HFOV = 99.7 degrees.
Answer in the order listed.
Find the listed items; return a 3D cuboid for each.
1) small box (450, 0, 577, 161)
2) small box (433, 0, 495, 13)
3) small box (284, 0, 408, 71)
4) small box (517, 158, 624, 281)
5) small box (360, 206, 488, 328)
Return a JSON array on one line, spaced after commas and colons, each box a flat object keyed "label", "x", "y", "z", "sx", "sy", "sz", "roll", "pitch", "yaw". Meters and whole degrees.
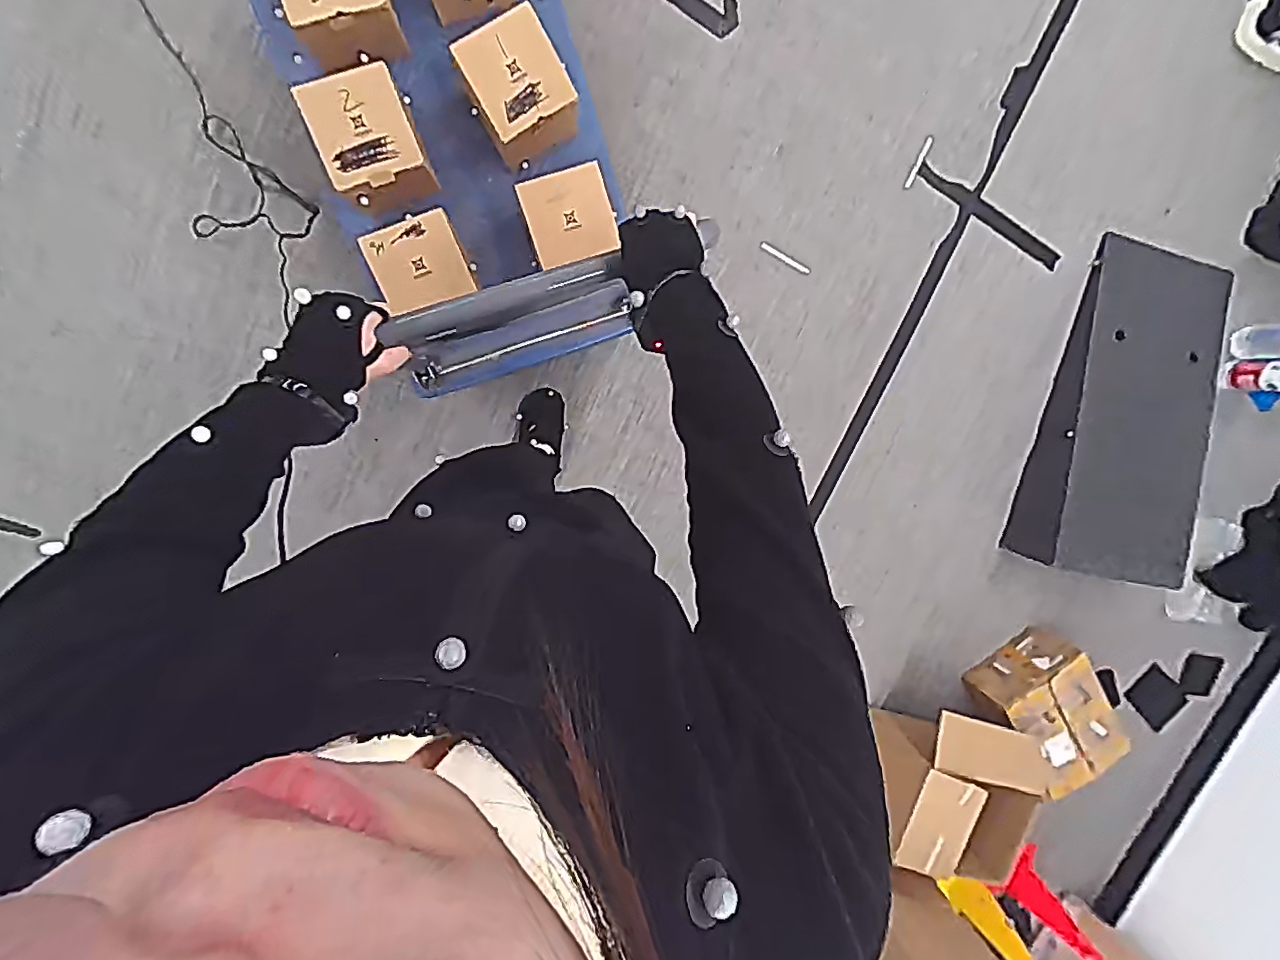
[{"label": "small box", "x": -0.235, "y": -0.753, "z": 1.046, "sx": 0.168, "sy": 0.176, "sz": 0.179, "roll": -32, "pitch": 104, "yaw": -2}, {"label": "small box", "x": -0.335, "y": -0.997, "z": 0.977, "sx": 0.168, "sy": 0.176, "sz": 0.179, "roll": -23, "pitch": 105, "yaw": -4}, {"label": "small box", "x": -0.541, "y": -0.884, "z": 0.965, "sx": 0.168, "sy": 0.176, "sz": 0.179, "roll": -18, "pitch": 105, "yaw": -5}, {"label": "small box", "x": -0.143, "y": -0.522, "z": 1.113, "sx": 0.168, "sy": 0.176, "sz": 0.179, "roll": -19, "pitch": 104, "yaw": -6}, {"label": "small box", "x": -0.420, "y": -0.416, "z": 1.087, "sx": 0.168, "sy": 0.176, "sz": 0.179, "roll": -24, "pitch": 105, "yaw": -5}]
